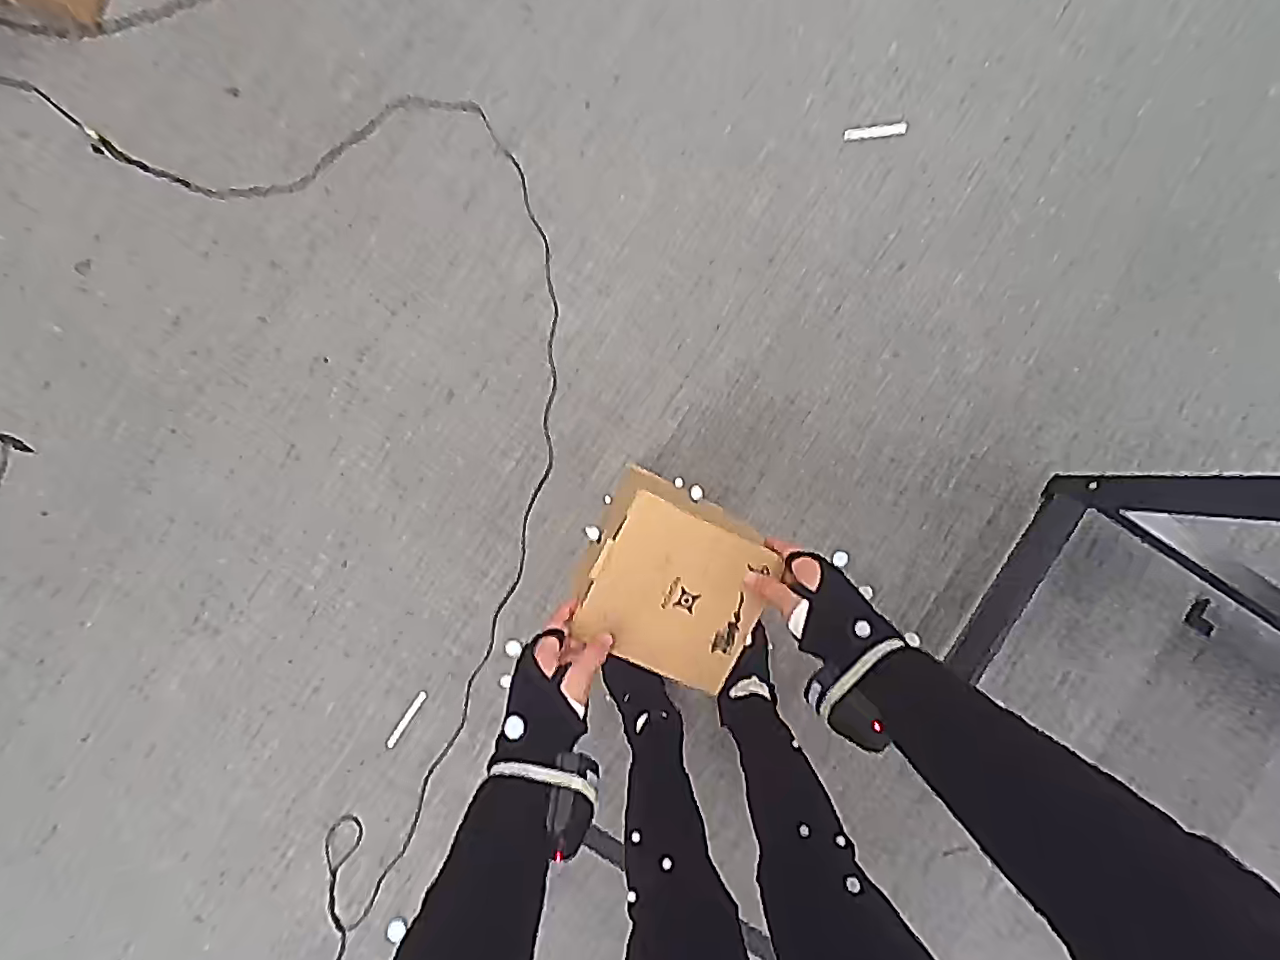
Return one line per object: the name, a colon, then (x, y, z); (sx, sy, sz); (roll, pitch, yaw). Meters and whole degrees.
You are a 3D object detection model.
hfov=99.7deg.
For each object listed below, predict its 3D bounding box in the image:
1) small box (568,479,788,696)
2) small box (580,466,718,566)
small box: (0.033, 0.108, 0.626); (0.179, 0.176, 0.168); (26, 95, -7)
small box: (0.013, 0.091, 0.924); (0.168, 0.176, 0.179); (25, 88, -2)
